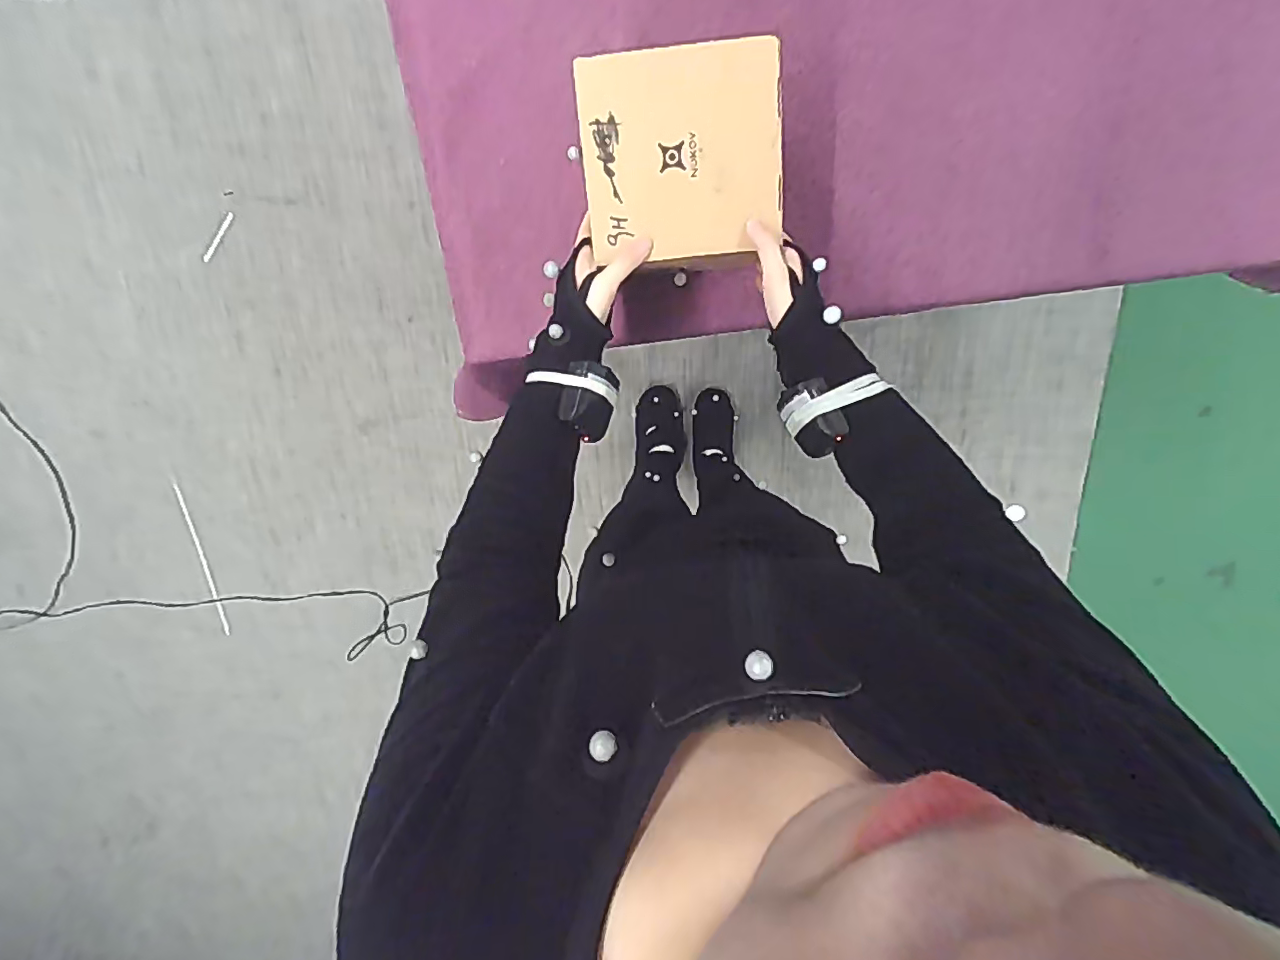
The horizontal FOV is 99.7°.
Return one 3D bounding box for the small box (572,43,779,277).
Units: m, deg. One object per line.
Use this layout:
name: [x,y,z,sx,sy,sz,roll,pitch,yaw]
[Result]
small box: [0.034,-0.304,0.550,0.179,0.176,0.168,-4,106,2]
